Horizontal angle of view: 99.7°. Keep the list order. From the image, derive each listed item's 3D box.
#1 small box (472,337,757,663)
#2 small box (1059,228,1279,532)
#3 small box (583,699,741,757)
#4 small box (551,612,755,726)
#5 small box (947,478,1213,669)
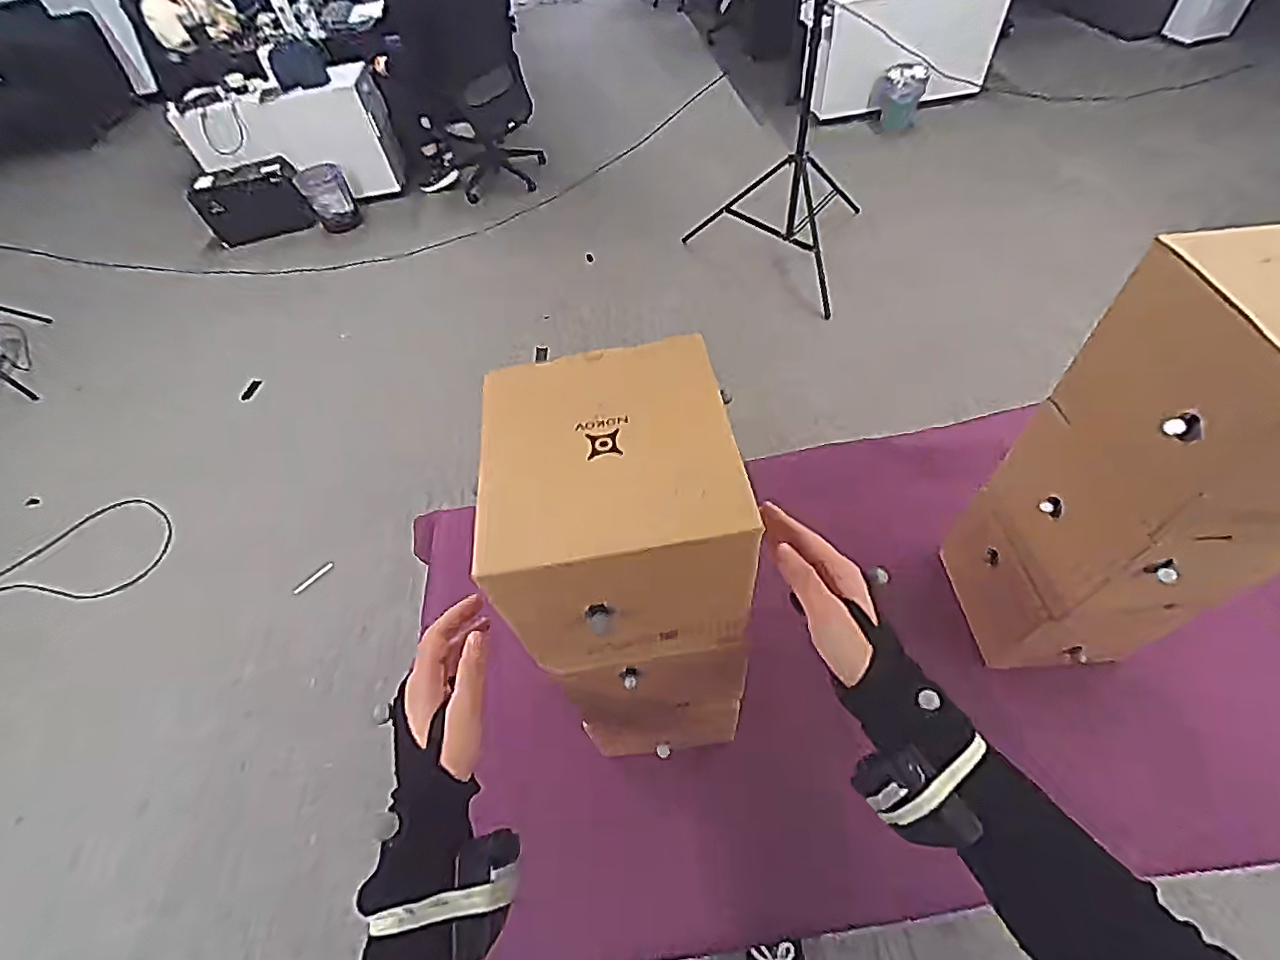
[{"bbox_3d":[-0.015,0.025,0.410,0.168,0.176,0.179,-10,52,0],"label":"small box"},{"bbox_3d":[0.481,-0.070,0.415,0.168,0.176,0.179,-3,52,4],"label":"small box"},{"bbox_3d":[0.023,0.224,0.667,0.168,0.176,0.179,-8,53,1],"label":"small box"},{"bbox_3d":[0.008,0.124,0.539,0.168,0.176,0.179,-10,53,1],"label":"small box"},{"bbox_3d":[0.520,0.120,0.678,0.168,0.176,0.179,-6,53,5],"label":"small box"}]
